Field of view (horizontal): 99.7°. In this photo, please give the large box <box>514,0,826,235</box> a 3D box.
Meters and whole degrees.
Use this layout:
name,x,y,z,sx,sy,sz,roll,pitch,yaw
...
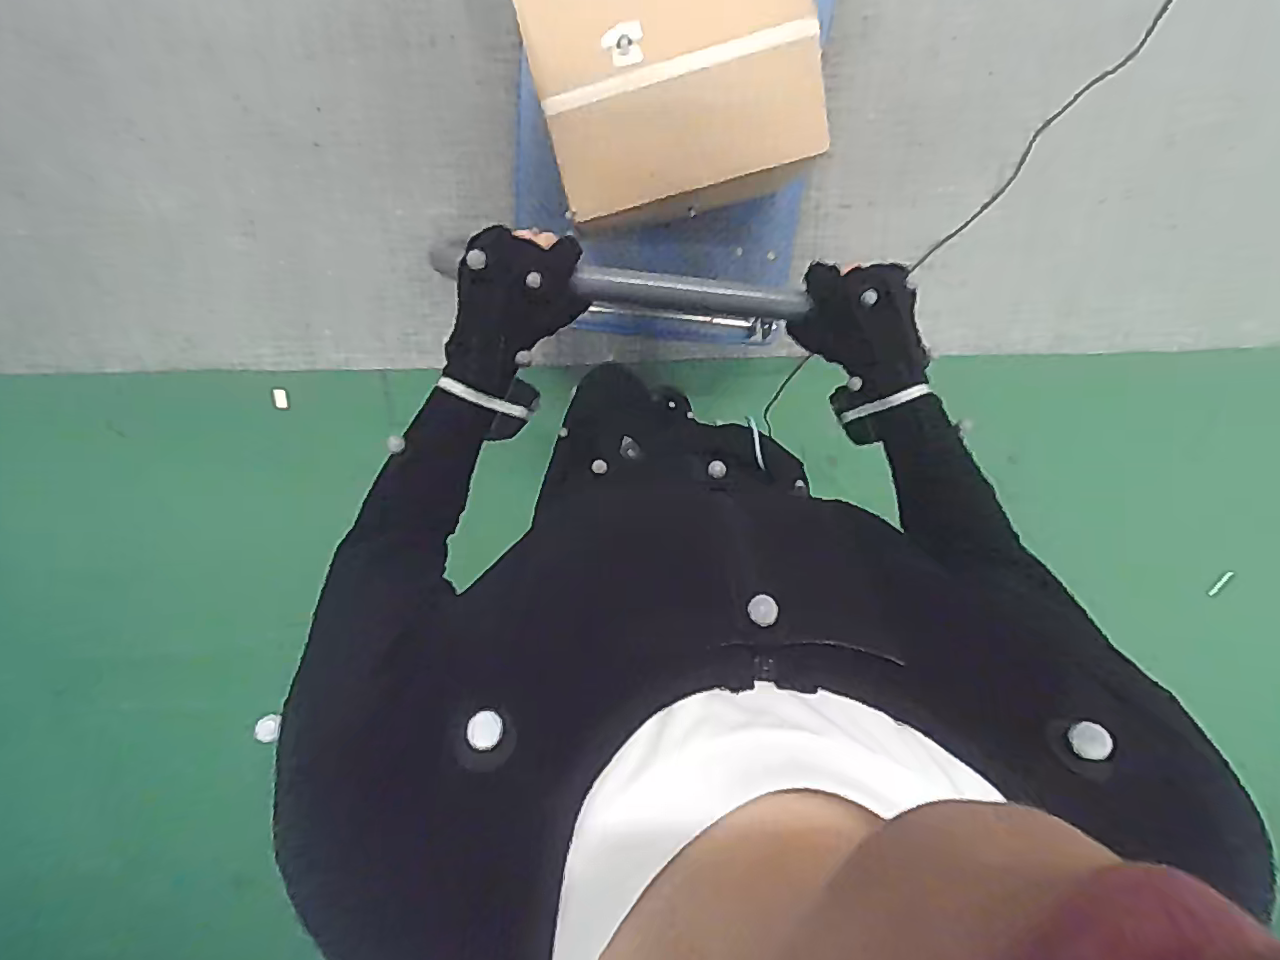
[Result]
name,x,y,z,sx,sy,sz,roll,pitch,yaw
large box,0.052,-0.641,0.917,0.408,0.320,0.320,-14,108,4
